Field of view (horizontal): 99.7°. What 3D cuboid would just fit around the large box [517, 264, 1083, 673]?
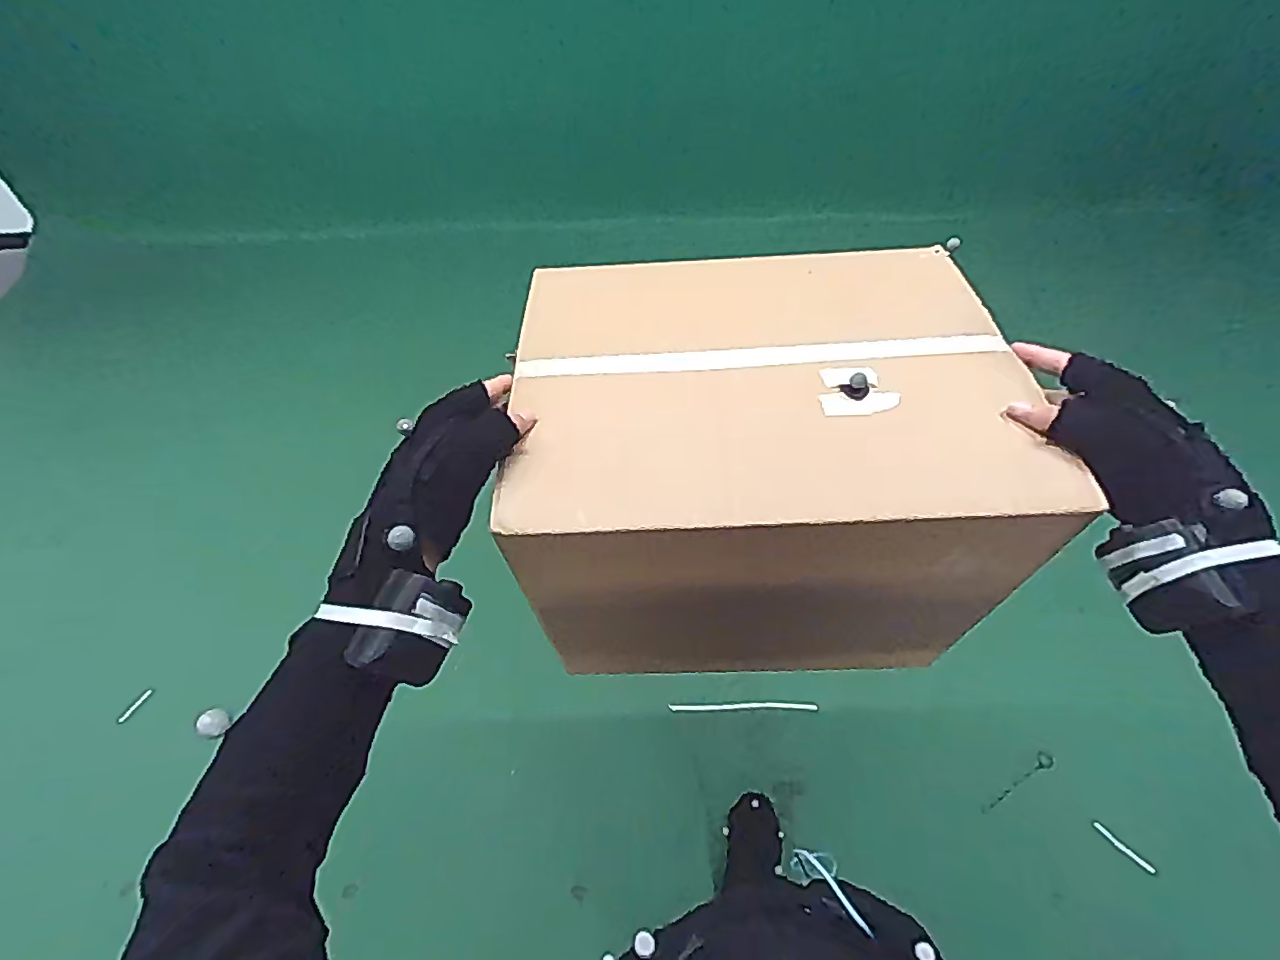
[{"bbox_3d":[0.110,-0.001,0.581,0.408,0.320,0.320,-2,53,1],"label":"large box"}]
